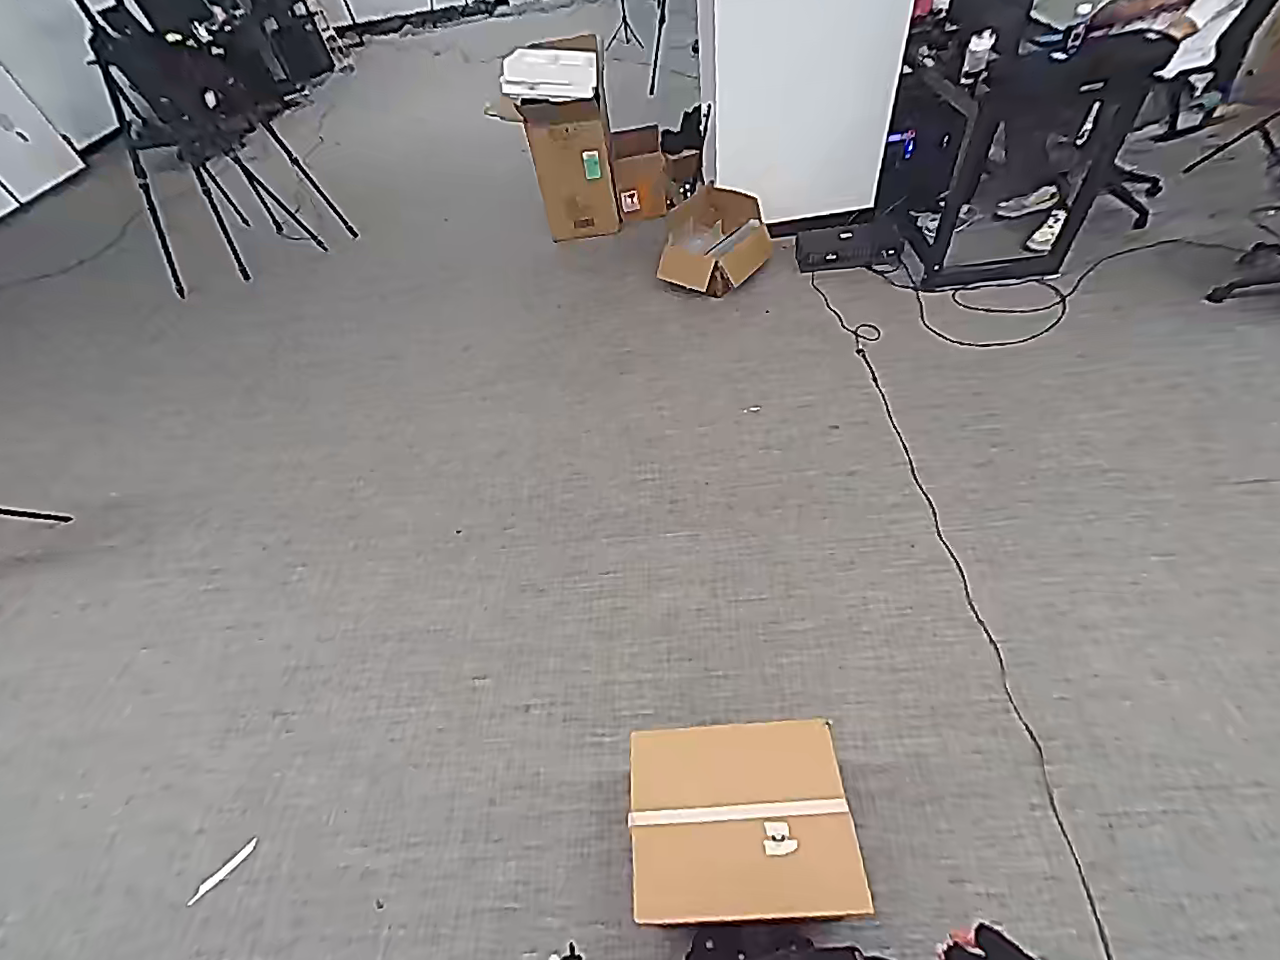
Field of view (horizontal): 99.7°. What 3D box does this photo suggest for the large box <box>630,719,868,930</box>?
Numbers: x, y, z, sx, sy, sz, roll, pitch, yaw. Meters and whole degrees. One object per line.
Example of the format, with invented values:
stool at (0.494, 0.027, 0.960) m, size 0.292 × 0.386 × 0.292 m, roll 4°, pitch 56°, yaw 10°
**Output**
large box at (0.199, 0.725, 1.131) m, size 0.408 × 0.320 × 0.320 m, roll -6°, pitch 50°, yaw 3°
